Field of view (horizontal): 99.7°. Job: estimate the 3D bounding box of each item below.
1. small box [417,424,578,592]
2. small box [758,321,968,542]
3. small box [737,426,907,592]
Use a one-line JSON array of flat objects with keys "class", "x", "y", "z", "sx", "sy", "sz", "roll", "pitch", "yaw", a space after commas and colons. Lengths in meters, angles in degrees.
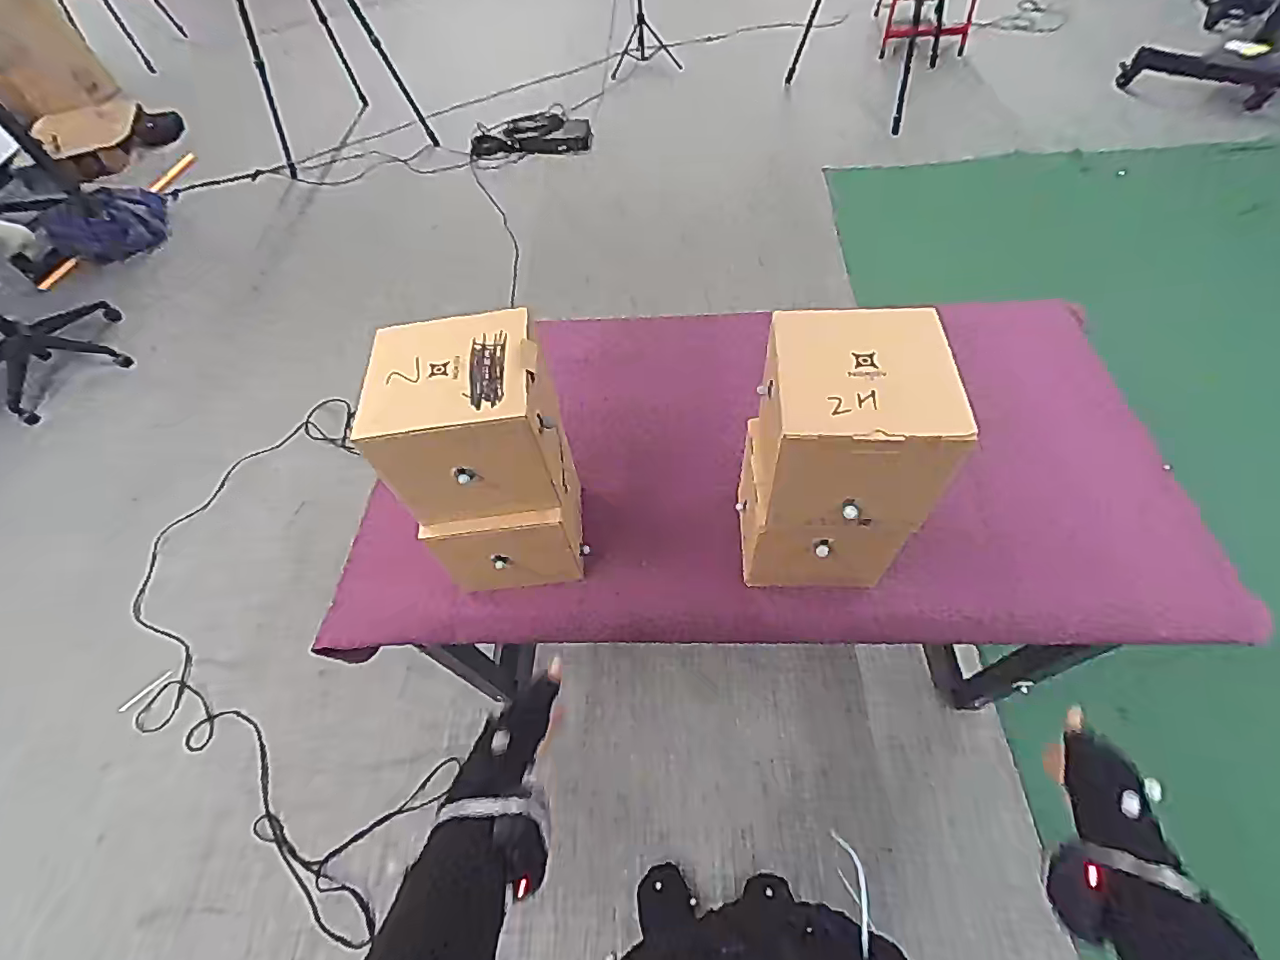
[{"class": "small box", "x": -0.182, "y": 0.044, "z": 0.756, "sx": 0.179, "sy": 0.176, "sz": 0.168, "roll": -7, "pitch": 55, "yaw": 1}, {"class": "small box", "x": 0.222, "y": -0.052, "z": 0.594, "sx": 0.168, "sy": 0.176, "sz": 0.179, "roll": 2, "pitch": 56, "yaw": 7}, {"class": "small box", "x": 0.228, "y": 0.043, "z": 0.729, "sx": 0.179, "sy": 0.176, "sz": 0.168, "roll": 0, "pitch": 56, "yaw": 6}]
